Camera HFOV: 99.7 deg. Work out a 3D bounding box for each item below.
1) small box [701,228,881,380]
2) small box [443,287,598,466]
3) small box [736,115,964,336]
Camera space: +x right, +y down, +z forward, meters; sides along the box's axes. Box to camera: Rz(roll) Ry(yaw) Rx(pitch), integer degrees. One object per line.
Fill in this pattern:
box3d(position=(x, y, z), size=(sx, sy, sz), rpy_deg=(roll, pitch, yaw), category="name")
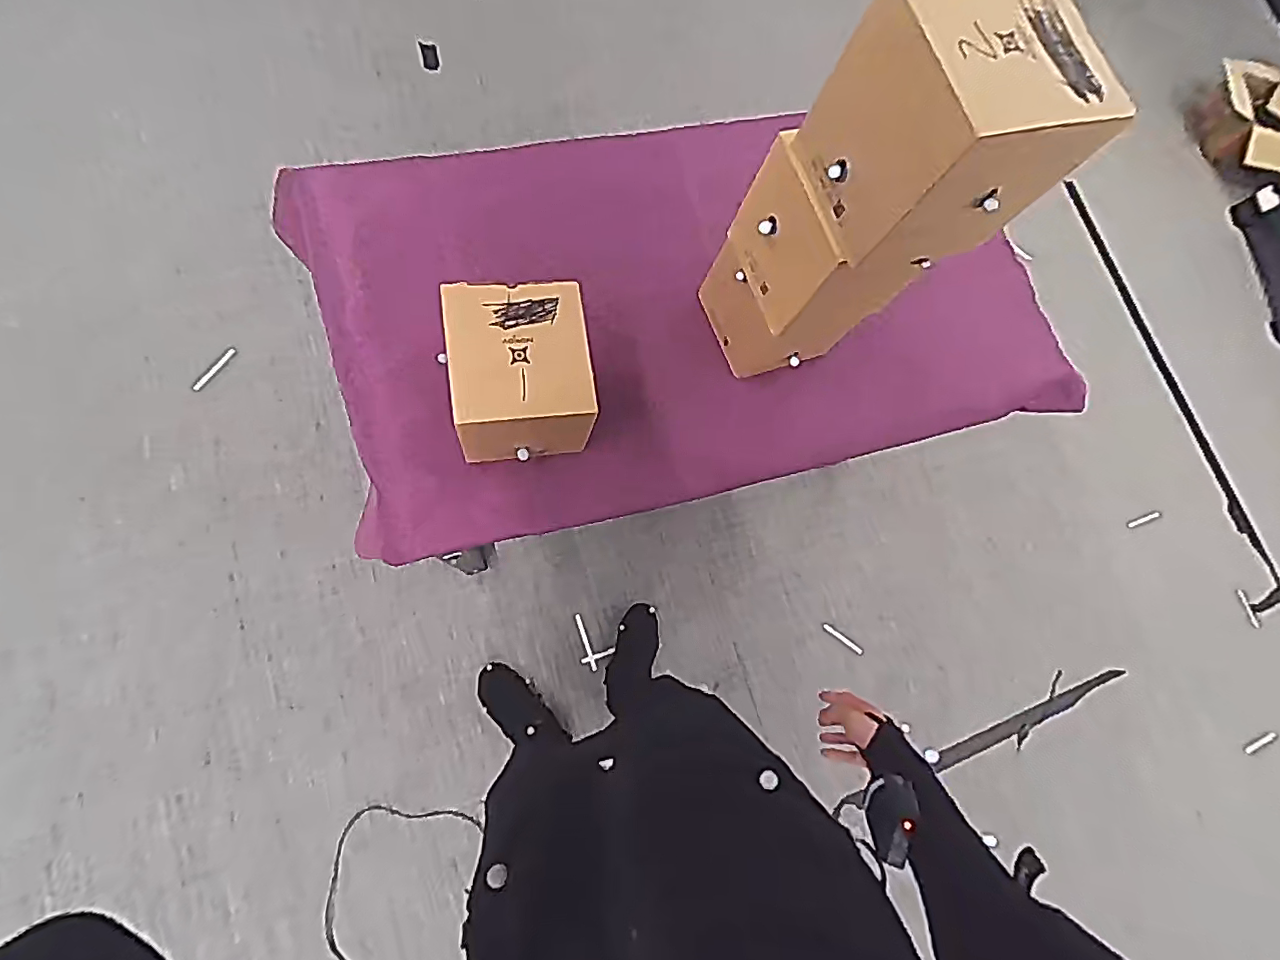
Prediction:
box3d(position=(0.218, -0.275, 0.823), size=(0.179, 0.176, 0.168), rpy_deg=(-19, 80, -16), category="small box")
box3d(position=(-0.157, -0.129, 0.709), size=(0.168, 0.176, 0.179), rpy_deg=(-7, 79, -13), category="small box")
box3d(position=(0.236, -0.299, 0.662), size=(0.179, 0.176, 0.168), rpy_deg=(-19, 81, -16), category="small box")
